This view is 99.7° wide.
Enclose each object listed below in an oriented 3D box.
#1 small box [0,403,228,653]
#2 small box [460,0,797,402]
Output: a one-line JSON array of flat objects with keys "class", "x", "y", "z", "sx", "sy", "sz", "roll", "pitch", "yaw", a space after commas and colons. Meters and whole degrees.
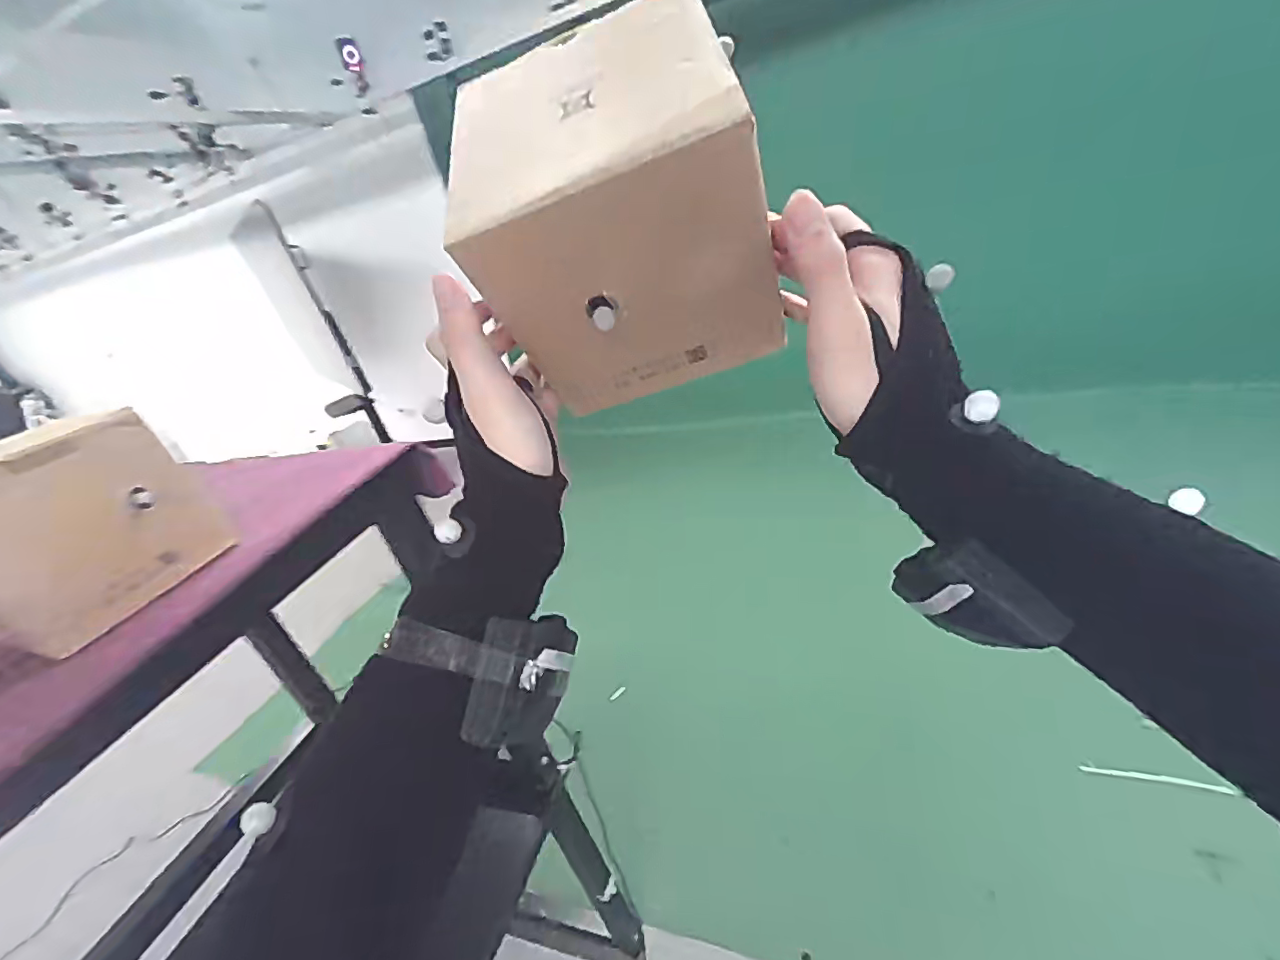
[{"class": "small box", "x": -0.556, "y": 0.042, "z": 0.519, "sx": 0.179, "sy": 0.176, "sz": 0.168, "roll": -2, "pitch": 31, "yaw": 27}, {"class": "small box", "x": 0.000, "y": -0.175, "z": 0.370, "sx": 0.168, "sy": 0.176, "sz": 0.179, "roll": -16, "pitch": 58, "yaw": 13}]
